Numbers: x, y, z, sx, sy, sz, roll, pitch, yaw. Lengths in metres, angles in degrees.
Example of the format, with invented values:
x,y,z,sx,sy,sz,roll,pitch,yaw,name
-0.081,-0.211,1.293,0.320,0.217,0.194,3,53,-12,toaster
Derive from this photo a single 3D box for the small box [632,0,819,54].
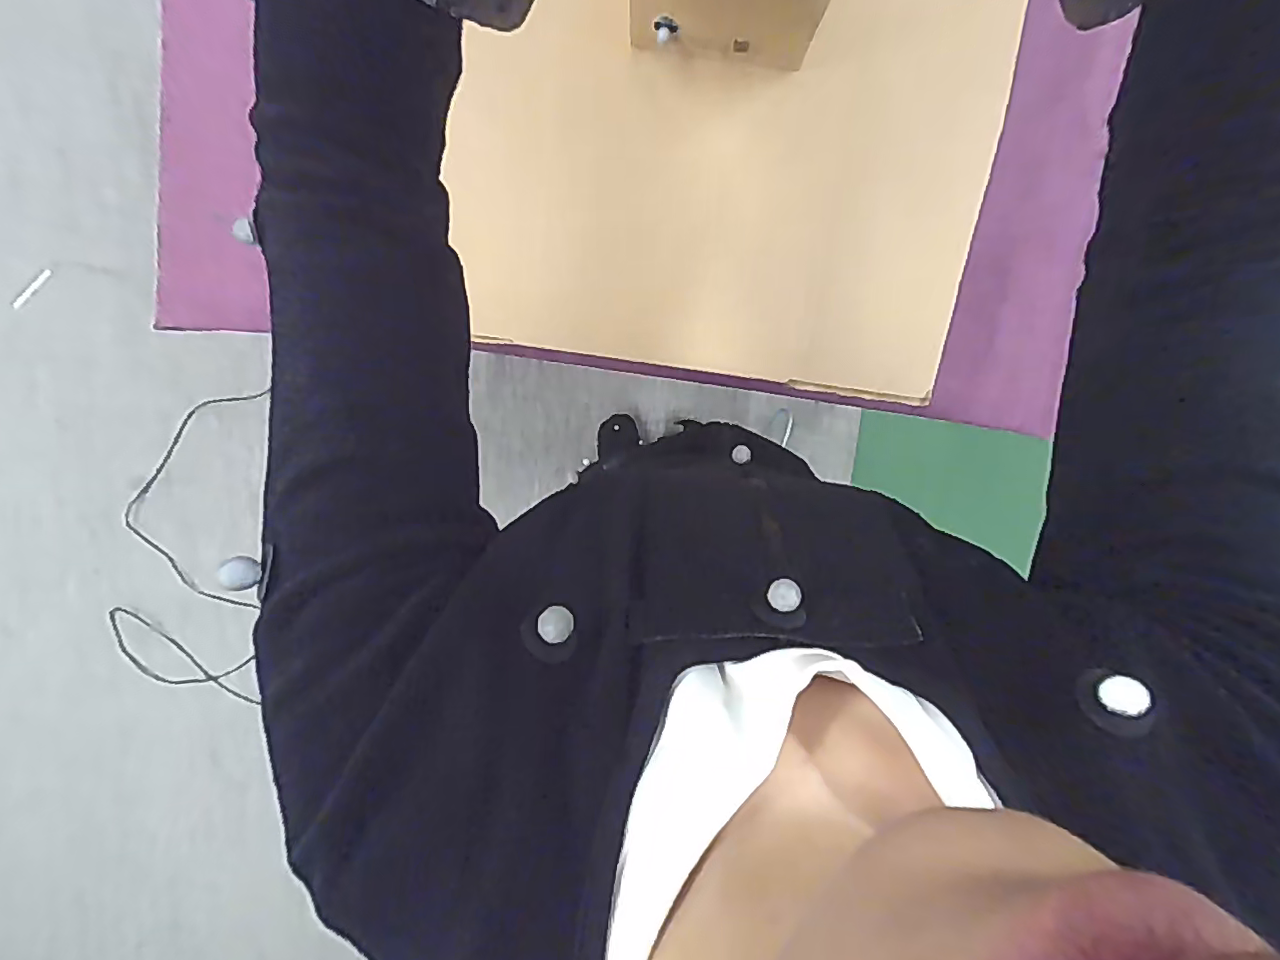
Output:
x,y,z,sx,sy,sz,roll,pitch,yaw,name
0.081,-0.487,0.425,0.168,0.176,0.179,8,95,-1,small box
